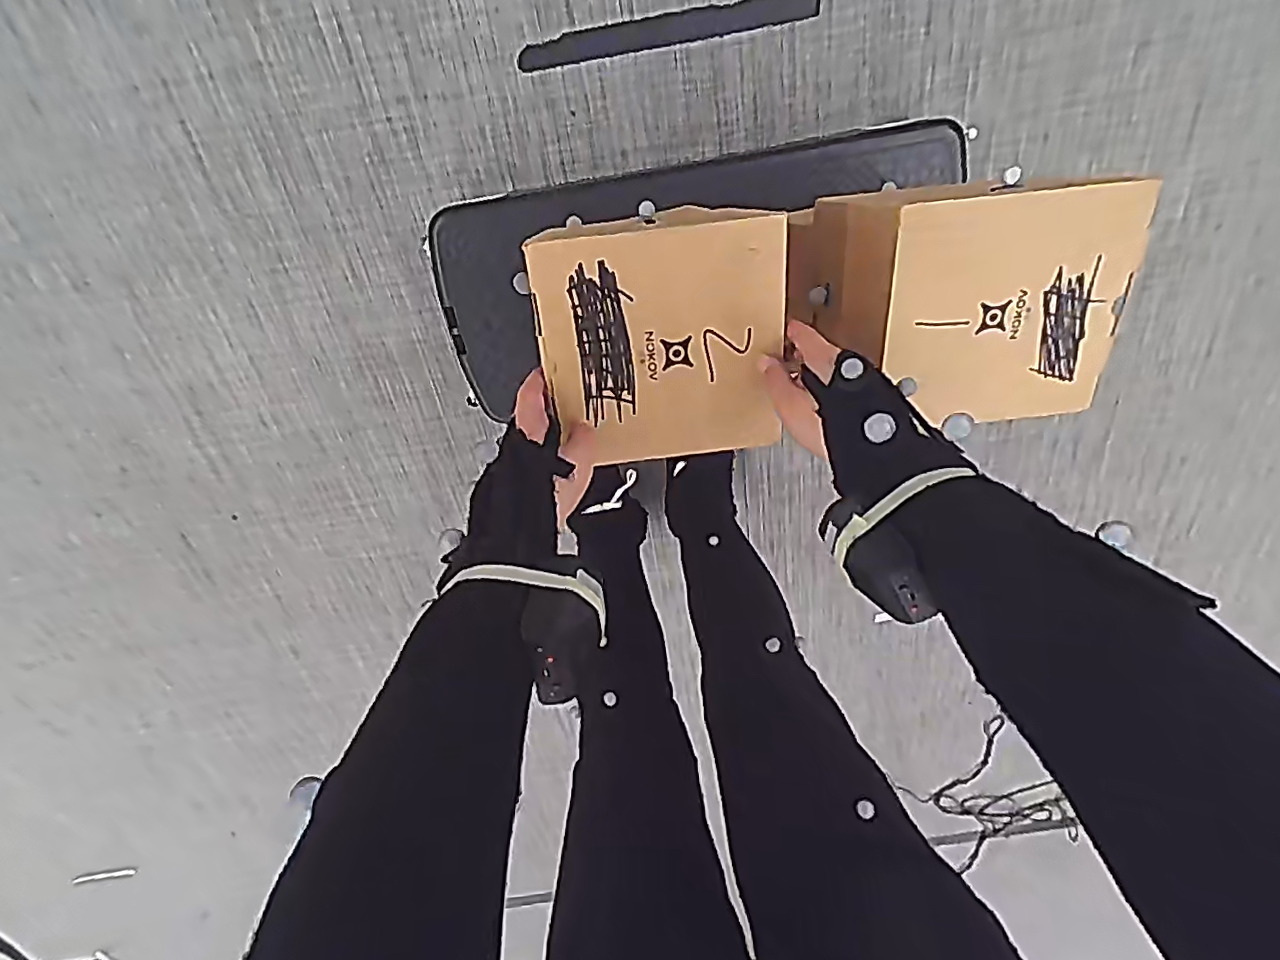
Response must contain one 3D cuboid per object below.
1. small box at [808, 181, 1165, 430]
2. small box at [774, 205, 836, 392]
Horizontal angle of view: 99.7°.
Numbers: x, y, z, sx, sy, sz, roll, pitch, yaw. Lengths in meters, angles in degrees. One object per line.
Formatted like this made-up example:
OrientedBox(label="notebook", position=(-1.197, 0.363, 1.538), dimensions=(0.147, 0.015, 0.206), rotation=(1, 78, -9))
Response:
OrientedBox(label="small box", position=(0.262, -0.156, 0.462), dimensions=(0.179, 0.176, 0.168), rotation=(-5, 118, 0))
OrientedBox(label="small box", position=(0.258, -0.221, 0.614), dimensions=(0.168, 0.176, 0.179), rotation=(-11, 118, 2))
